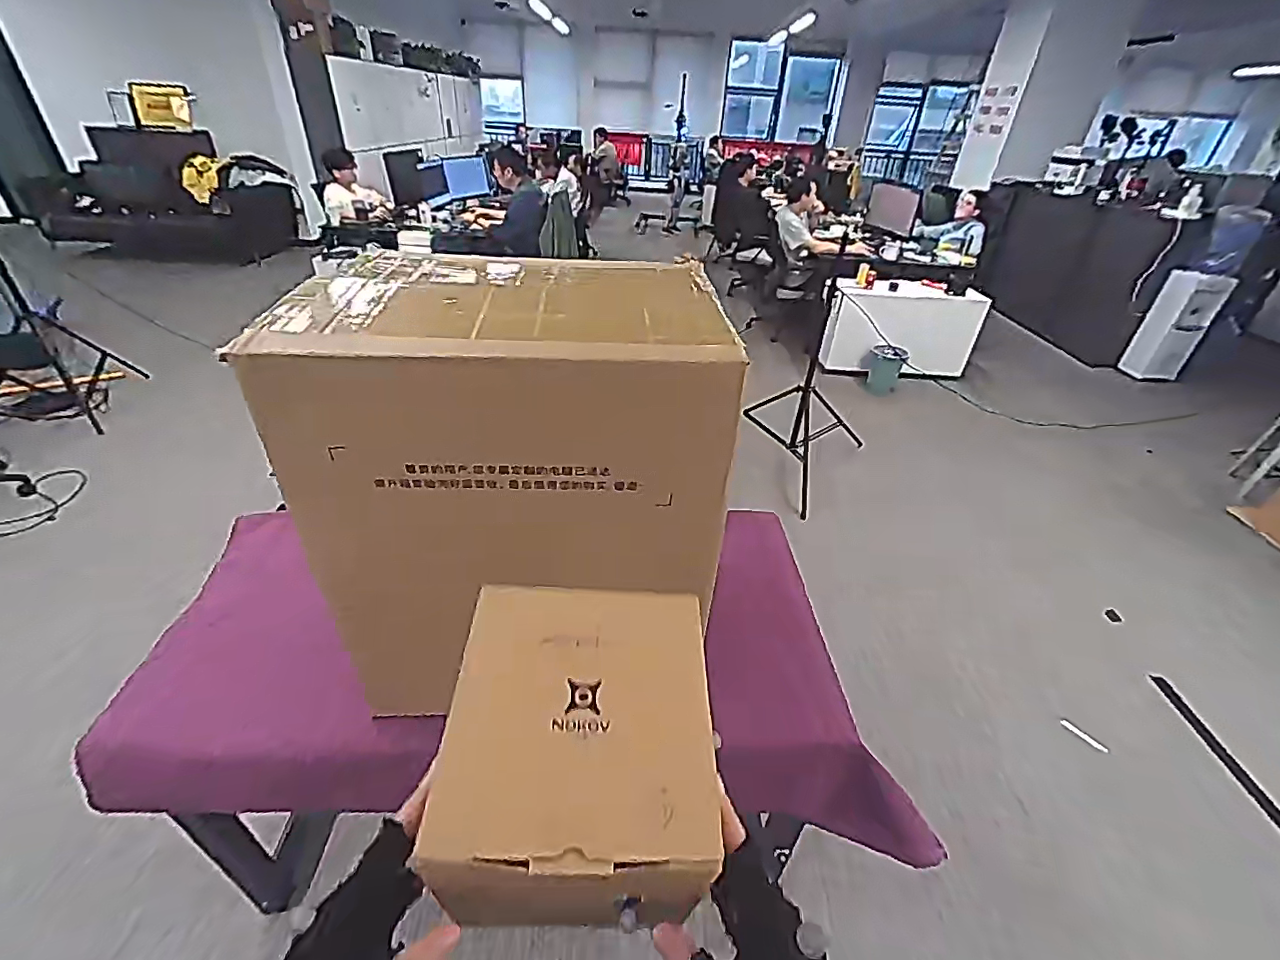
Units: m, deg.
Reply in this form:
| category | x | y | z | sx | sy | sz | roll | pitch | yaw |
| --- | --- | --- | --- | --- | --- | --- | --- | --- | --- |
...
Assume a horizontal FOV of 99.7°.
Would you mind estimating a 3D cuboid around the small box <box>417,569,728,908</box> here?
| category | x | y | z | sx | sy | sz | roll | pitch | yaw |
| --- | --- | --- | --- | --- | --- | --- | --- | --- | --- |
| small box | -0.040 | 0.188 | 0.393 | 0.168 | 0.176 | 0.179 | 4 | 42 | -5 |
